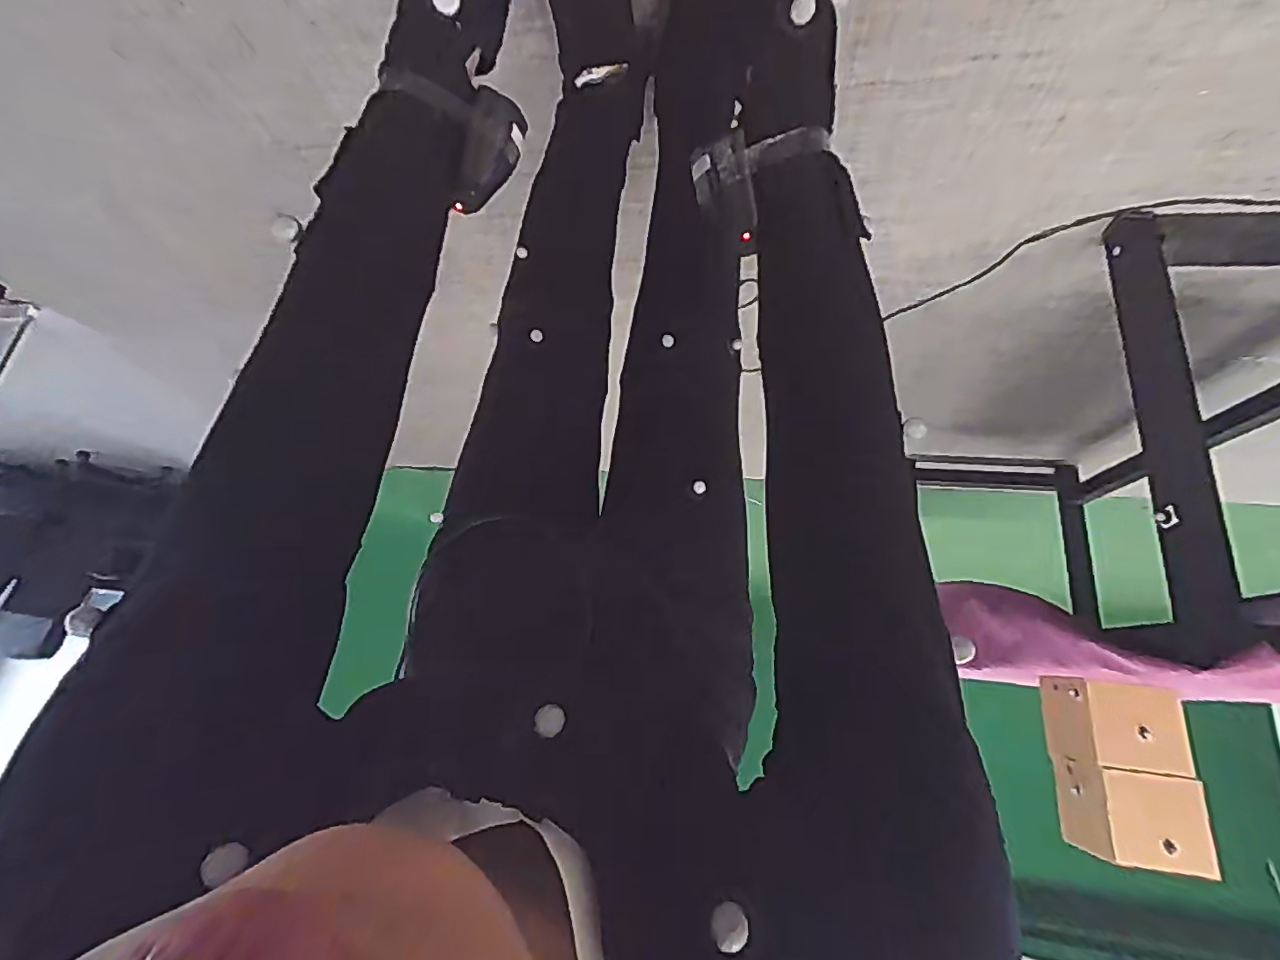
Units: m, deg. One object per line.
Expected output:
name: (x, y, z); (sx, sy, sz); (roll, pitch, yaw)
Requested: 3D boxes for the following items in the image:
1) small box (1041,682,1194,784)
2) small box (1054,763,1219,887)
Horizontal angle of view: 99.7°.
small box: (0.994, 0.527, 1.147); (0.179, 0.176, 0.168); (3, 161, 8)
small box: (0.984, 0.681, 1.091); (0.179, 0.176, 0.168); (4, 160, 9)
